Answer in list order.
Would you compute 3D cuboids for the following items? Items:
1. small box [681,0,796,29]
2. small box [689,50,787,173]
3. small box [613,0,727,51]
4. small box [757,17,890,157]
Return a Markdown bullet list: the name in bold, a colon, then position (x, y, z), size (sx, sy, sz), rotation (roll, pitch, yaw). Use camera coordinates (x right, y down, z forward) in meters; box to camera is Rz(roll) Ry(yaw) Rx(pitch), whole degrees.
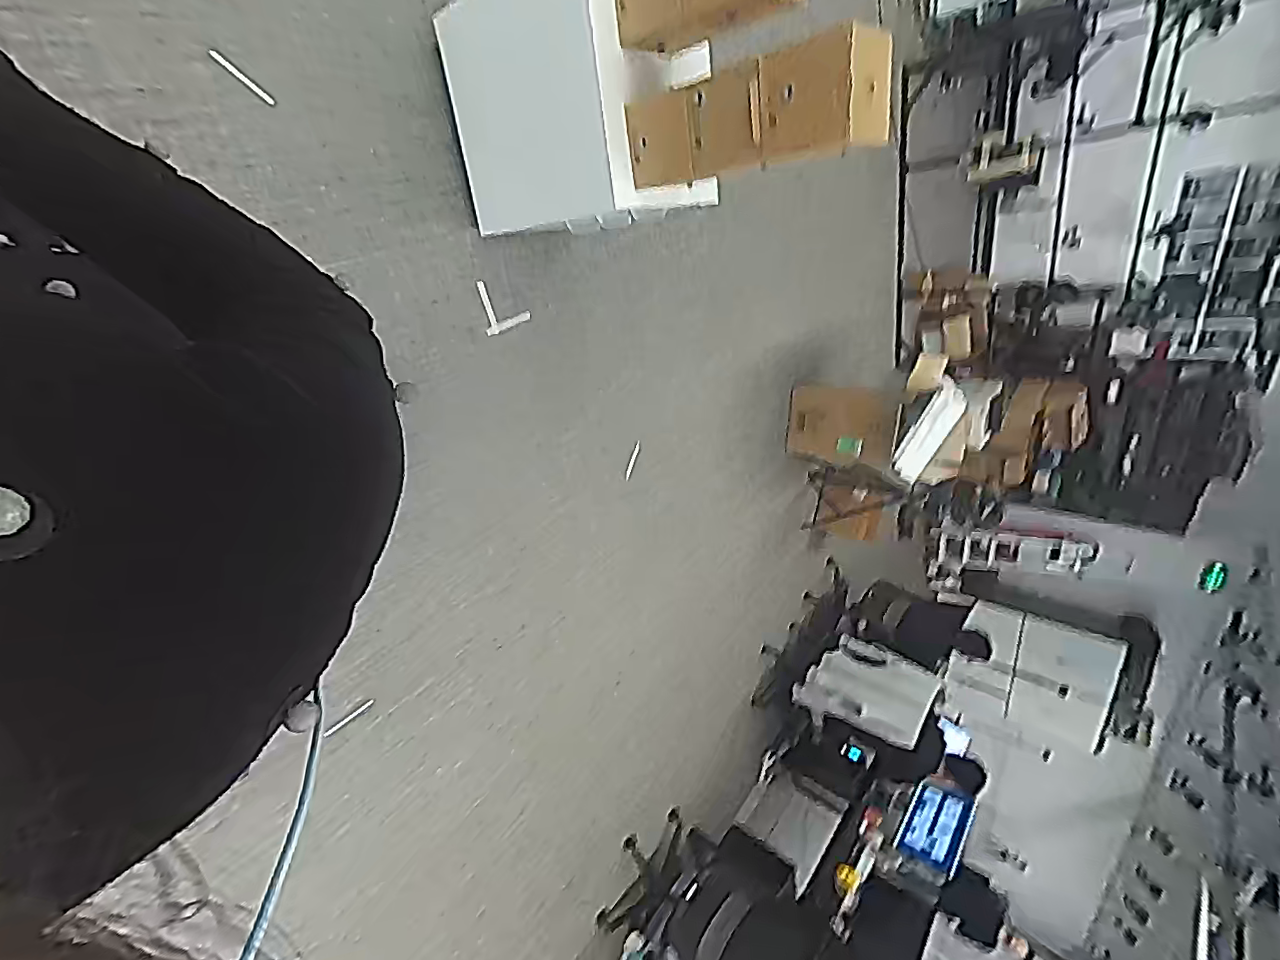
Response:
- **small box**: position (0.178, -0.961, 0.974), size (0.168, 0.176, 0.179), rotation (-29, 121, -39)
- **small box**: position (0.211, -0.724, 1.081), size (0.179, 0.176, 0.168), rotation (-32, 123, -39)
- **small box**: position (0.060, -0.993, 1.085), size (0.179, 0.176, 0.168), rotation (-29, 121, -41)
- **small box**: position (0.329, -0.692, 0.973), size (0.179, 0.176, 0.168), rotation (-31, 123, -38)
